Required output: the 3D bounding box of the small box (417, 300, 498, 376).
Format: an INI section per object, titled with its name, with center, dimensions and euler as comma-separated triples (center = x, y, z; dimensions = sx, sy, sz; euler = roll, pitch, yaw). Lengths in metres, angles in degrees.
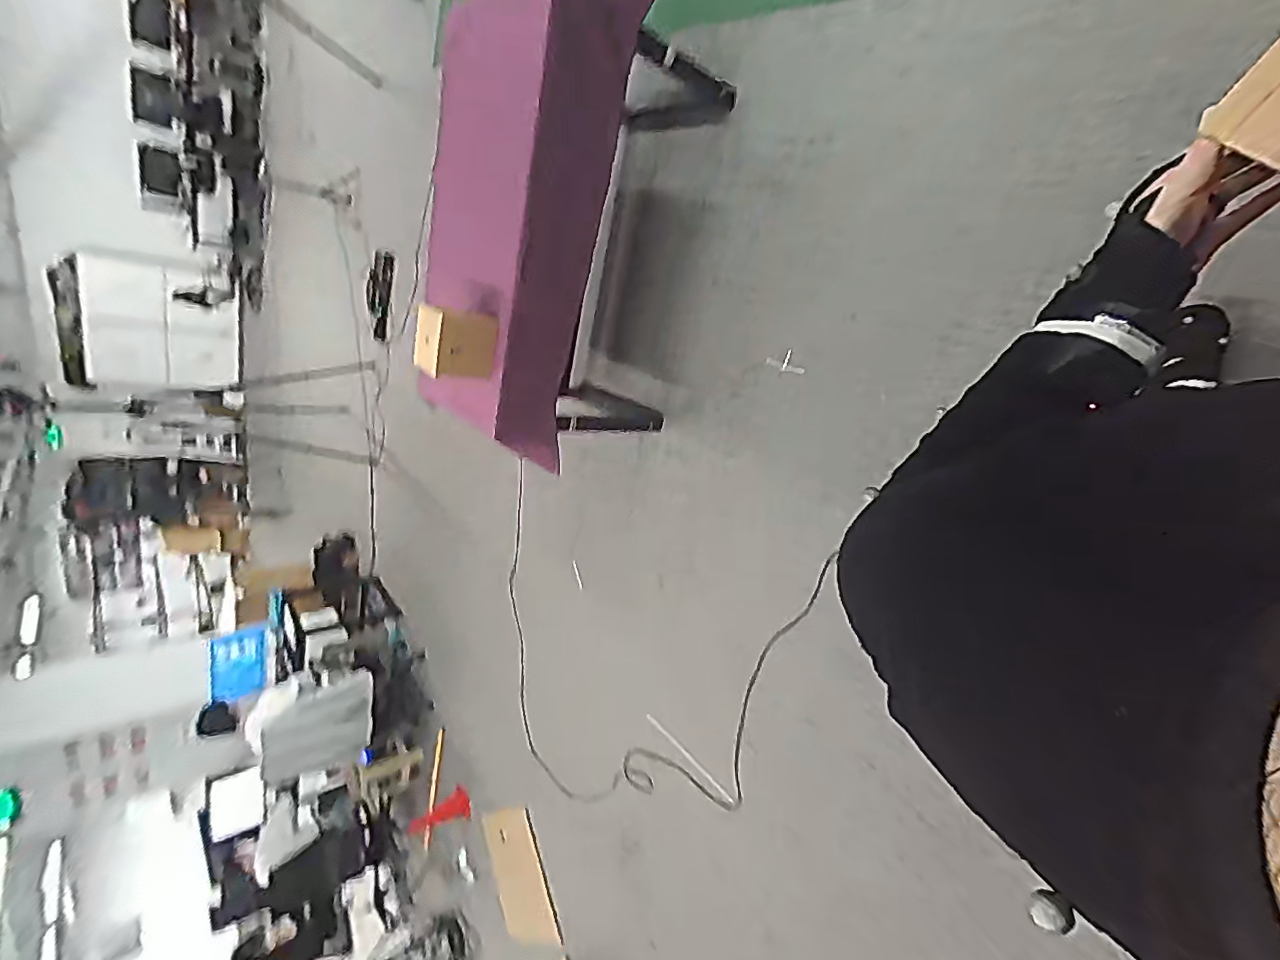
[small box]
center = -0.535, -0.412, 1.588
dimensions = 0.168, 0.176, 0.179
euler = 33, 116, 40
